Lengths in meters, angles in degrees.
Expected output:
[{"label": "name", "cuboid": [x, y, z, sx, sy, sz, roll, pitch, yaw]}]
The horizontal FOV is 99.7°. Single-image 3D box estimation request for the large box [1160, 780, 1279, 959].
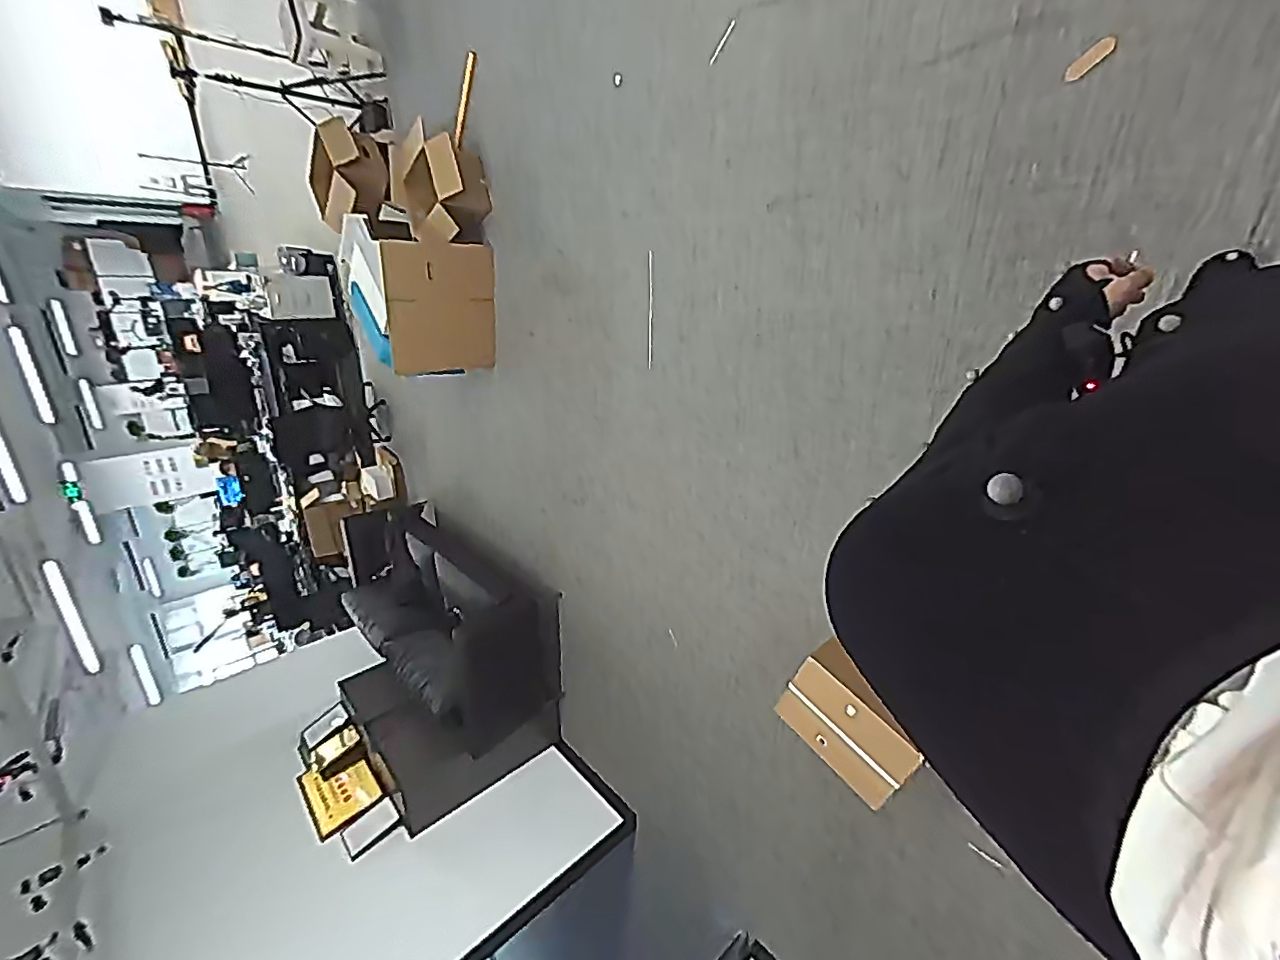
[{"label": "large box", "cuboid": [1.375, 0.850, 1.080, 0.408, 0.320, 0.320, -26, 84, 49]}]
